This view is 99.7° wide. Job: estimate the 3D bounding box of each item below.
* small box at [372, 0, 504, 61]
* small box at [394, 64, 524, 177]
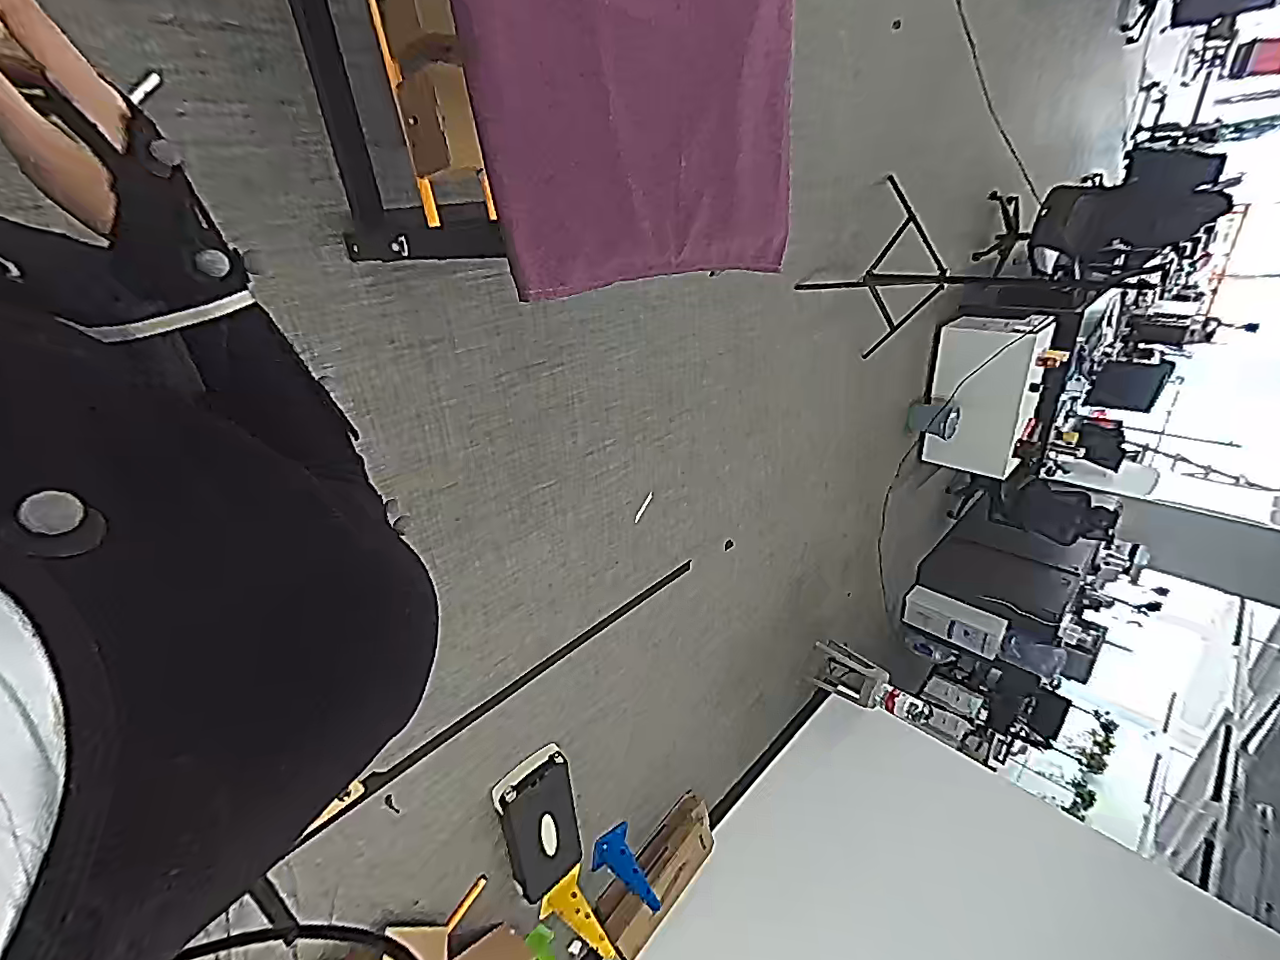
[{"bbox_3d":[-0.386,-0.908,1.012,0.179,0.176,0.168,-27,123,-34],"label":"small box"},{"bbox_3d":[-0.368,-0.723,1.103,0.179,0.176,0.168,-27,123,-35],"label":"small box"}]
